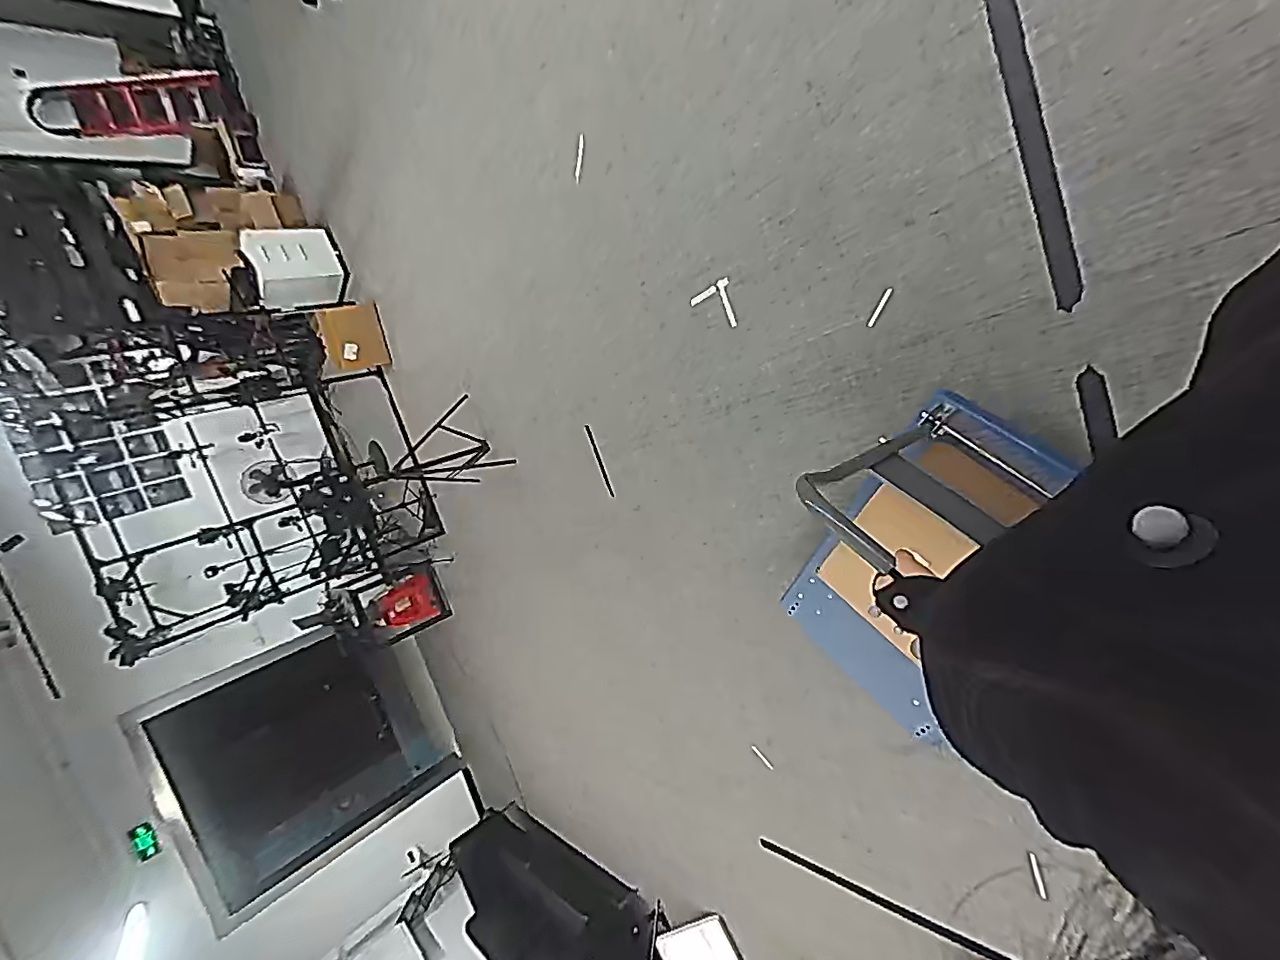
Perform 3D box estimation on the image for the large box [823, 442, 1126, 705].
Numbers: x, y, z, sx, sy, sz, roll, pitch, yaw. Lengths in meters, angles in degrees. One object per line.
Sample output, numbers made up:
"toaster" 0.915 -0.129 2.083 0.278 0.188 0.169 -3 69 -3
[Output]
"large box" 0.700 0.180 1.168 0.408 0.320 0.320 45 136 28
